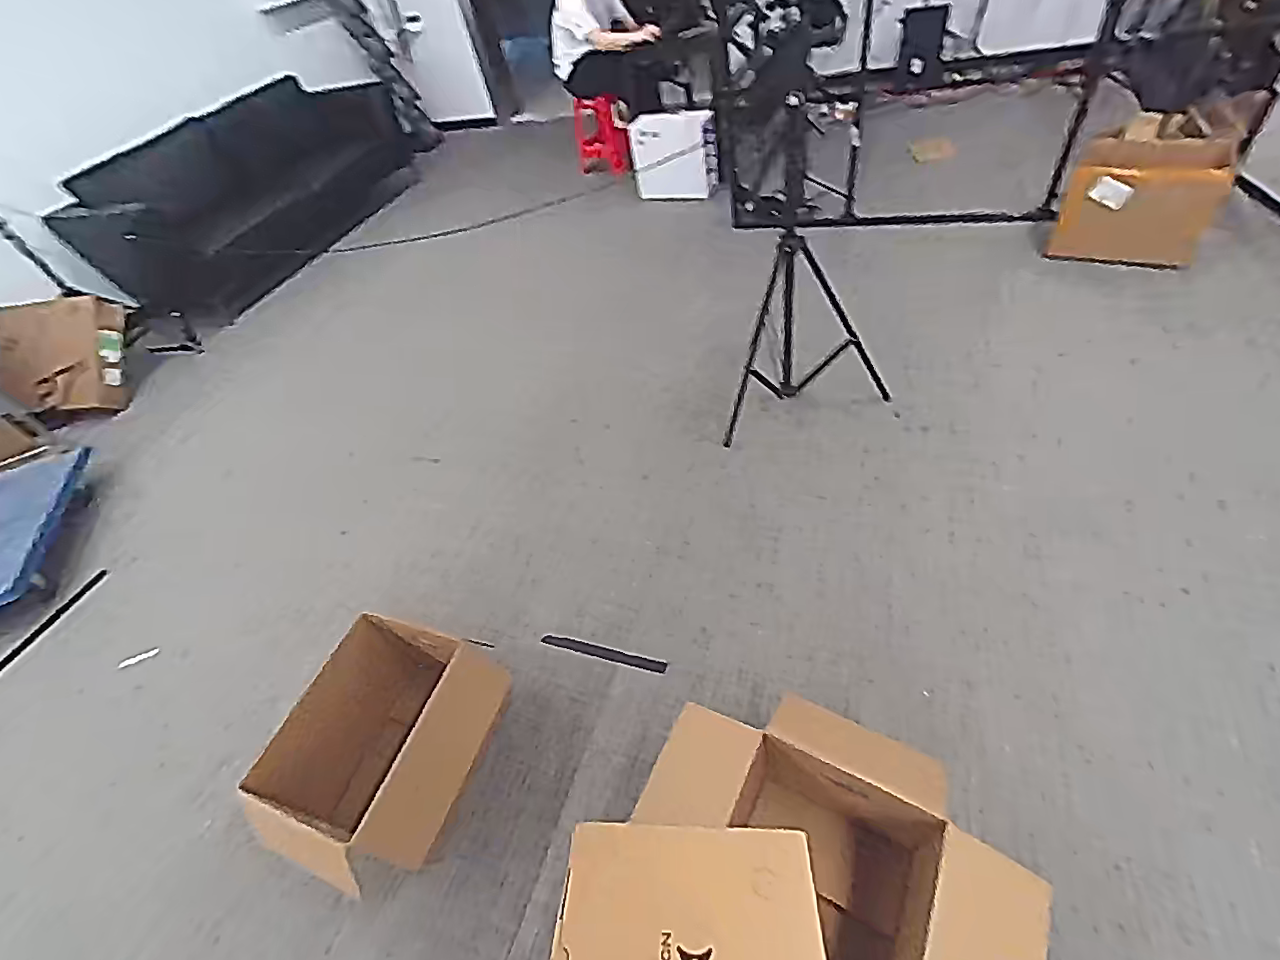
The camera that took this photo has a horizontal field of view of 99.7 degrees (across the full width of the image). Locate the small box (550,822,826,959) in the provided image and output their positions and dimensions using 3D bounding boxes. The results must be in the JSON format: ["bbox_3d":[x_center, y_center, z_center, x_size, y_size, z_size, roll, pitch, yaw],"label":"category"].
[{"bbox_3d":[0.035,0.369,0.381,0.179,0.176,0.168,-3,35,6],"label":"small box"}]
